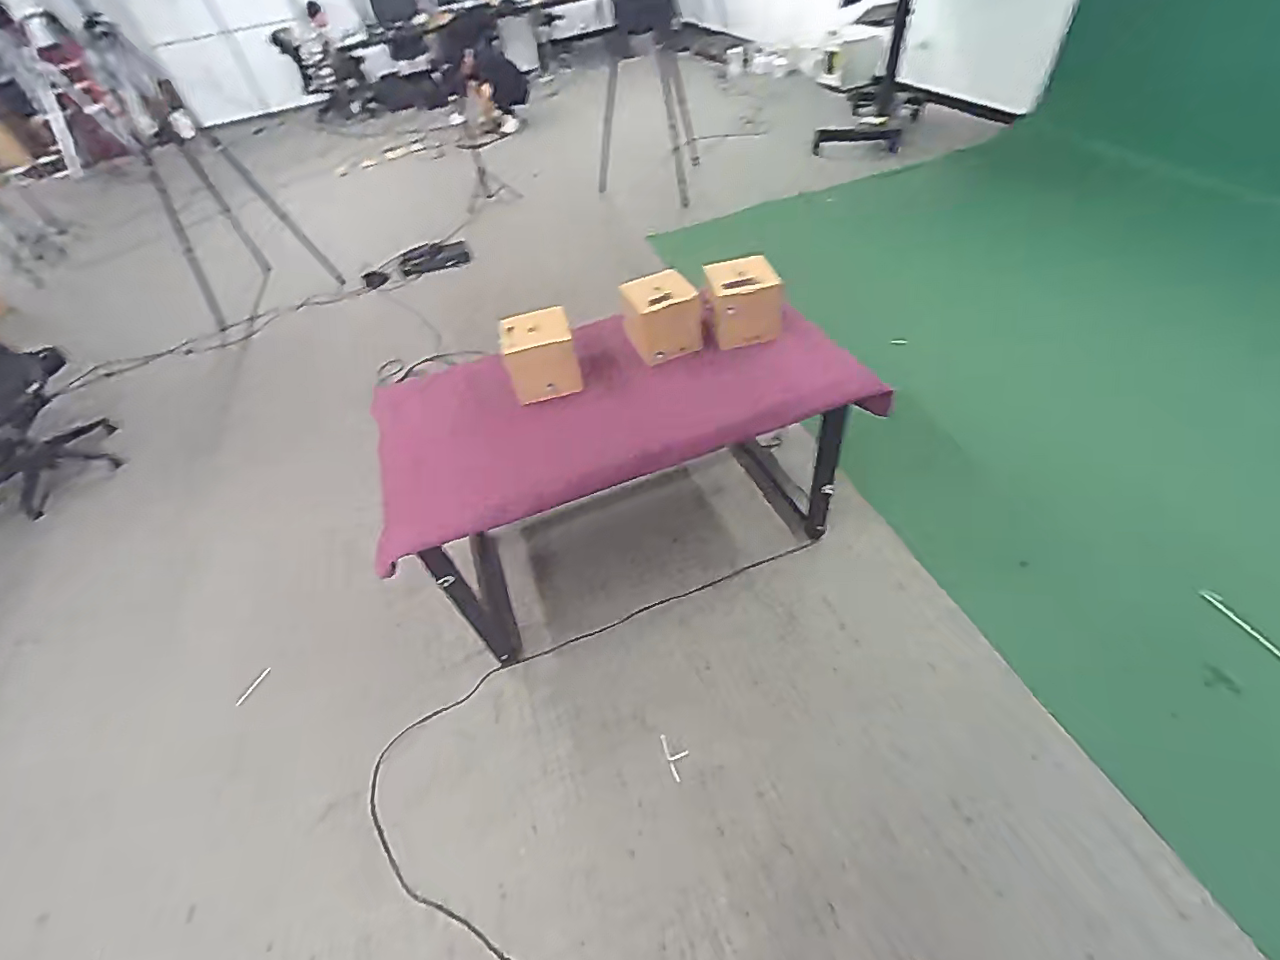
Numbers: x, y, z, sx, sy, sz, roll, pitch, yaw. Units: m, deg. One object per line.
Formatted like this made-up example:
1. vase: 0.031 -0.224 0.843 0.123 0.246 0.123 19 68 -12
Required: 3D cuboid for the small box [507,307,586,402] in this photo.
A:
1. small box: -0.247 -0.333 1.448 0.179 0.176 0.168 -13 48 -2
